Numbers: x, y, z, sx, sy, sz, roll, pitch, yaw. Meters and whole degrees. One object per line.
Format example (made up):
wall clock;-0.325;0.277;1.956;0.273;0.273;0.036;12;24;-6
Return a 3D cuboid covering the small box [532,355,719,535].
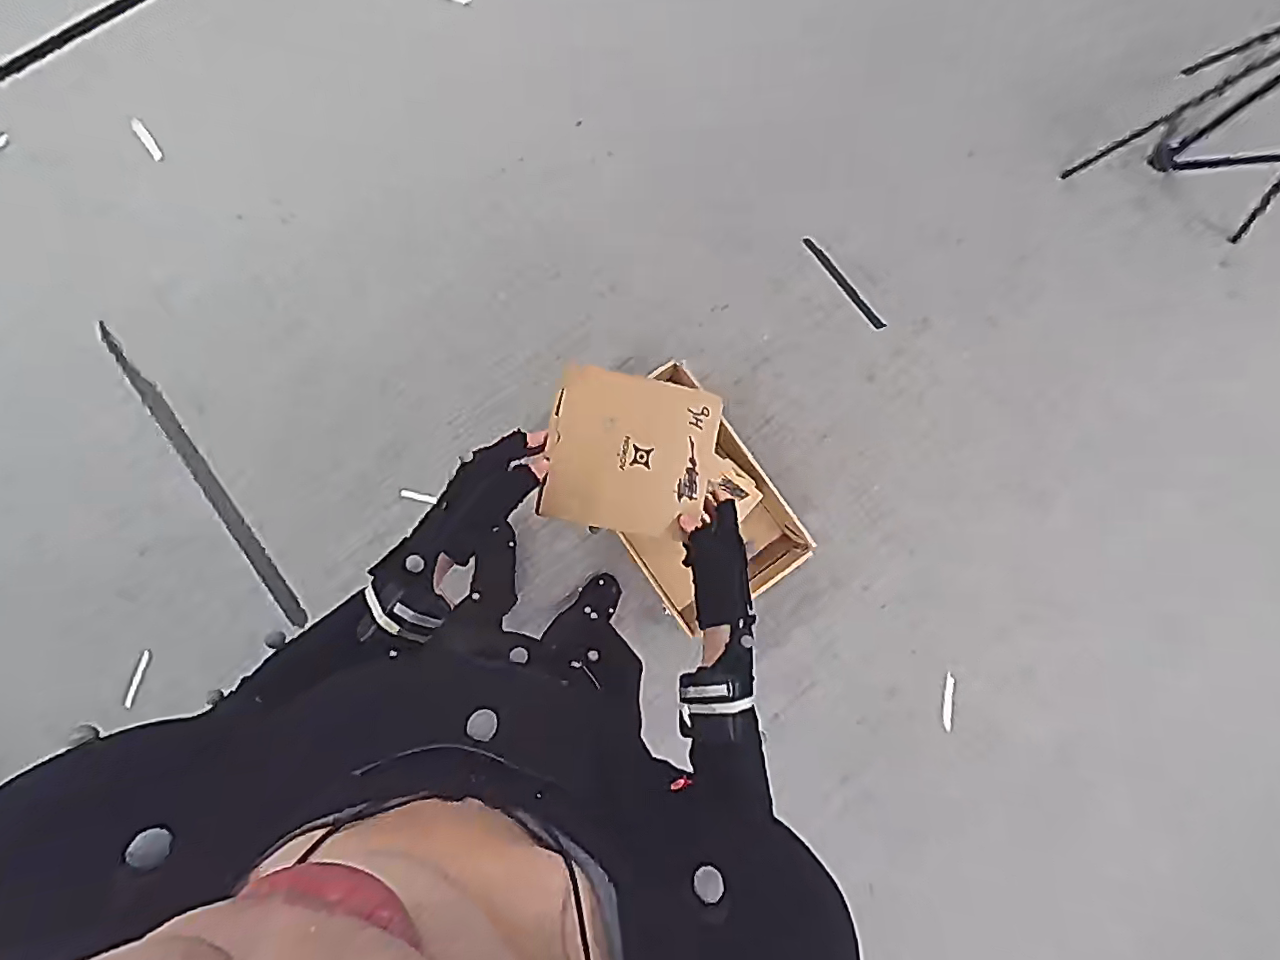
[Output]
small box;-0.026;-0.035;0.643;0.179;0.176;0.168;10;89;-11
